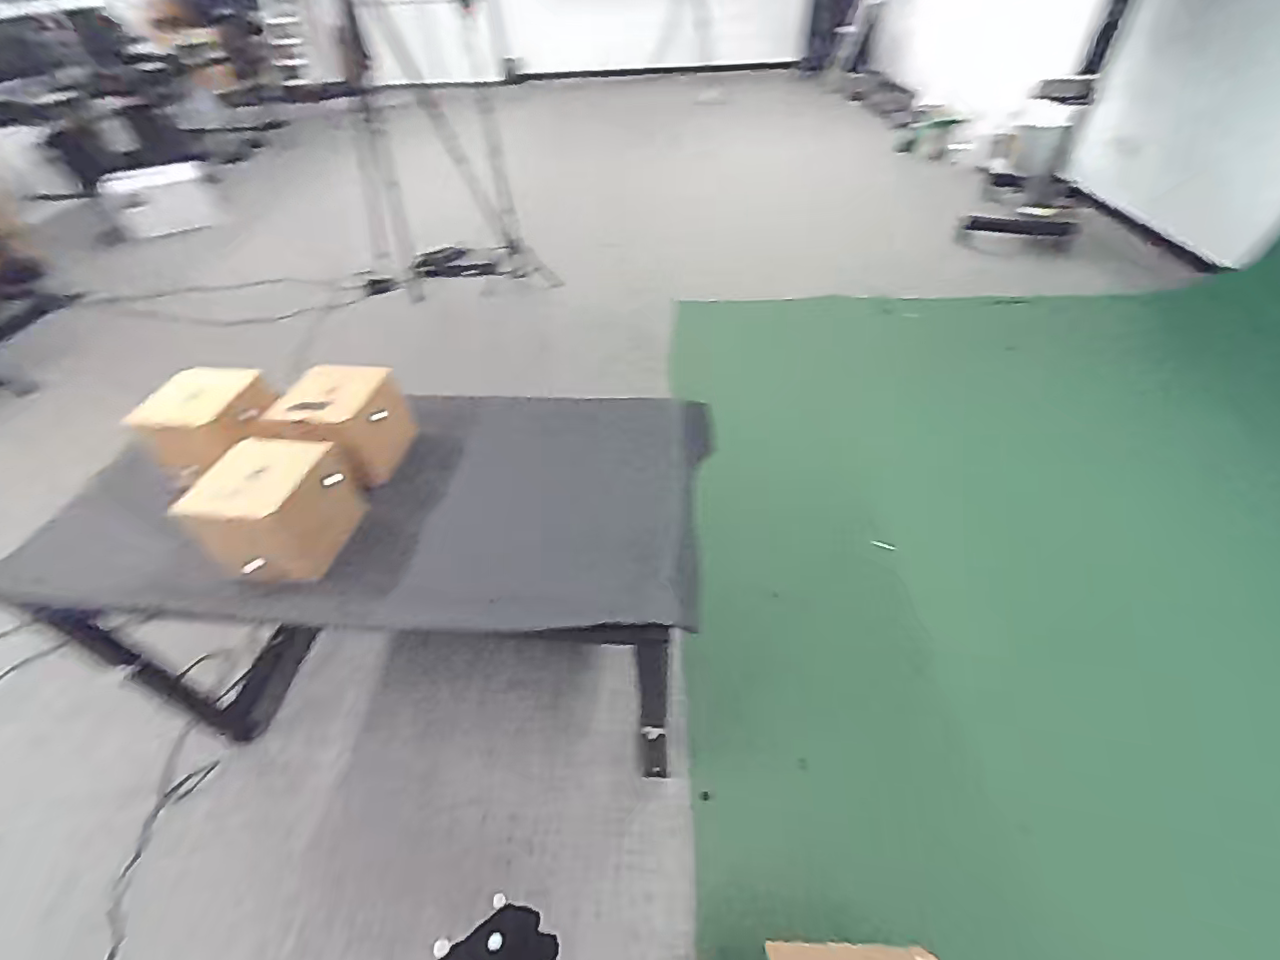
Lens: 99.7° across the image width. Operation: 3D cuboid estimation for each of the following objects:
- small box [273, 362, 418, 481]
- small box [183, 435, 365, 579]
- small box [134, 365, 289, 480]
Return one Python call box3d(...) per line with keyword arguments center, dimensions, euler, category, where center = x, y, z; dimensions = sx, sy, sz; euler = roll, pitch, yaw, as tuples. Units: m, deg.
box3d(center=(-0.576, -0.116, 1.089), dimensions=(0.168, 0.176, 0.179), euler=(5, 45, 7), category="small box")
box3d(center=(-0.605, 0.045, 0.929), dimensions=(0.168, 0.176, 0.179), euler=(4, 45, 6), category="small box")
box3d(center=(-0.841, -0.114, 1.101), dimensions=(0.168, 0.176, 0.179), euler=(3, 46, 5), category="small box")
